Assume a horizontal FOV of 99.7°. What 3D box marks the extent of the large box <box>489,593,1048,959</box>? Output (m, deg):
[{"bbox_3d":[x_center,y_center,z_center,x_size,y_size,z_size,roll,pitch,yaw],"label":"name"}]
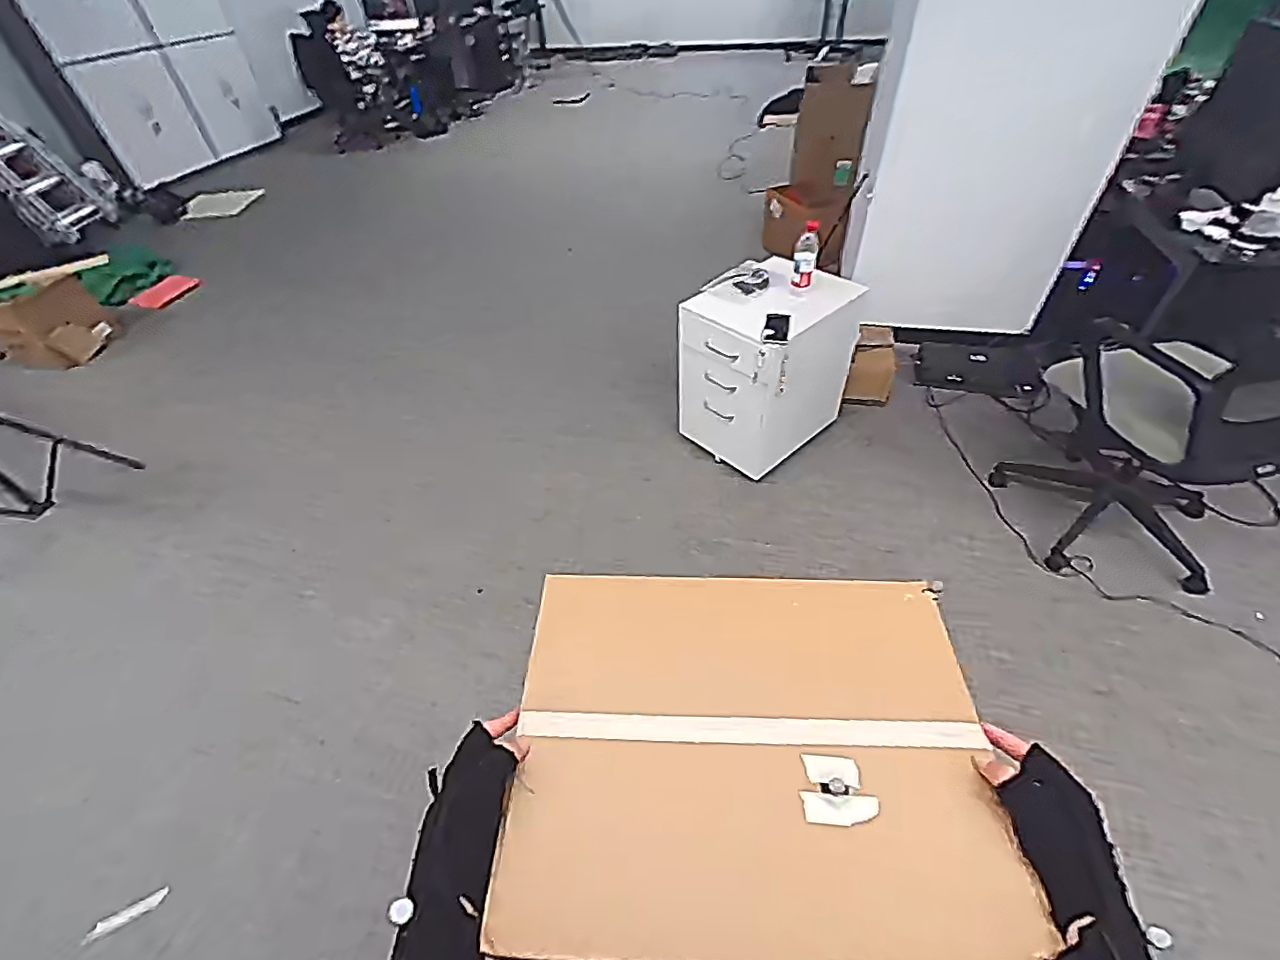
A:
[{"bbox_3d":[0.093,0.336,0.587,0.408,0.320,0.320,0,48,2],"label":"large box"}]
